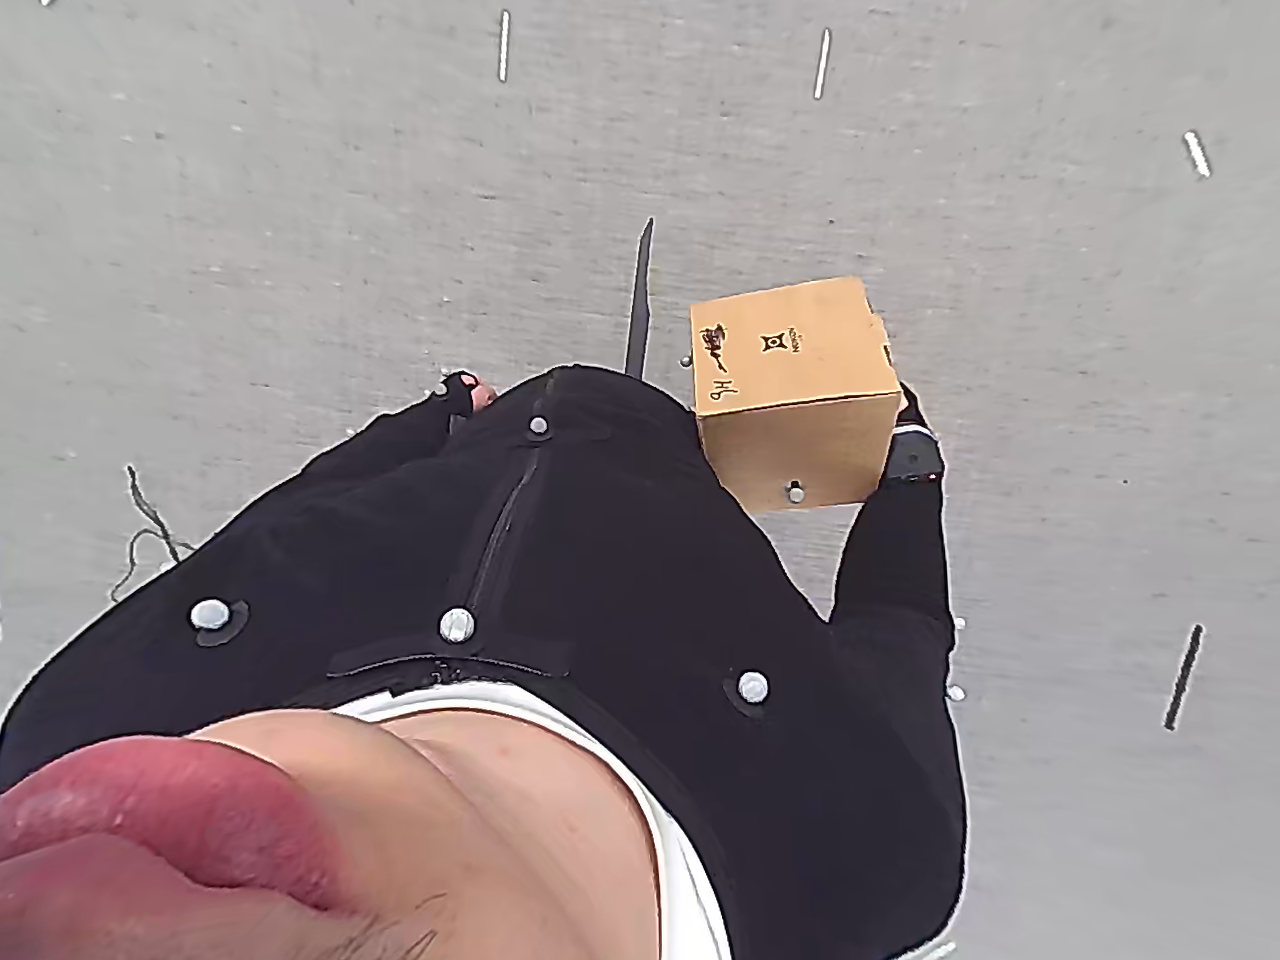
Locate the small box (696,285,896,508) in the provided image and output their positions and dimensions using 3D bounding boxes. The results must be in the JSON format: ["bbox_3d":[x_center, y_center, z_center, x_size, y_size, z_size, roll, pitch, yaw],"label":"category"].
[{"bbox_3d":[0.158,-0.085,0.597,0.179,0.168,0.176,-6,142,10],"label":"small box"}]
